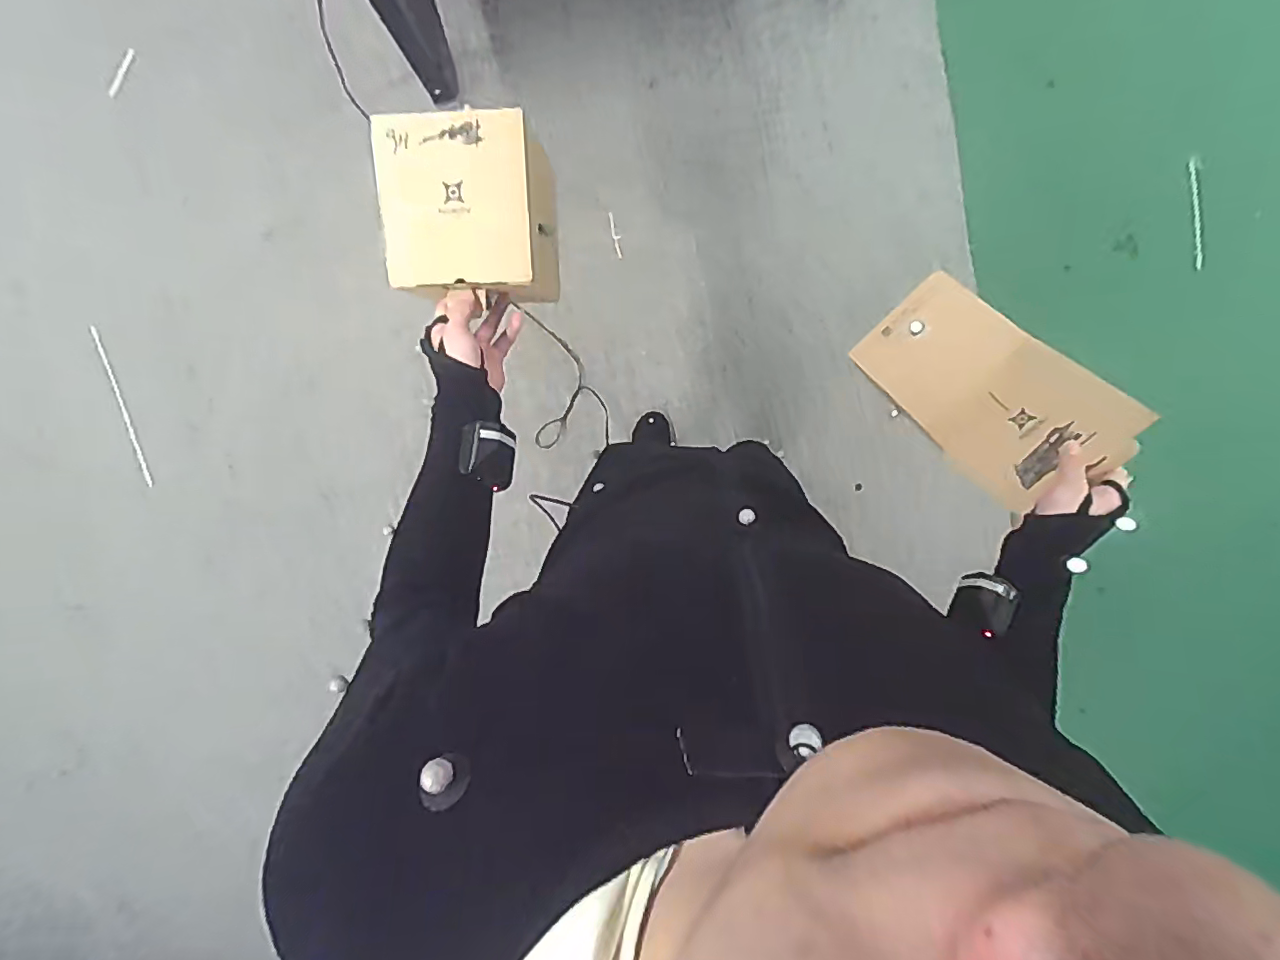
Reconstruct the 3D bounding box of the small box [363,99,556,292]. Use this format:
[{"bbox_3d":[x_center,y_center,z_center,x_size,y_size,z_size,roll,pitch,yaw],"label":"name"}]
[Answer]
[{"bbox_3d":[-0.201,-0.325,0.655,0.168,0.176,0.179,0,104,3],"label":"small box"}]
